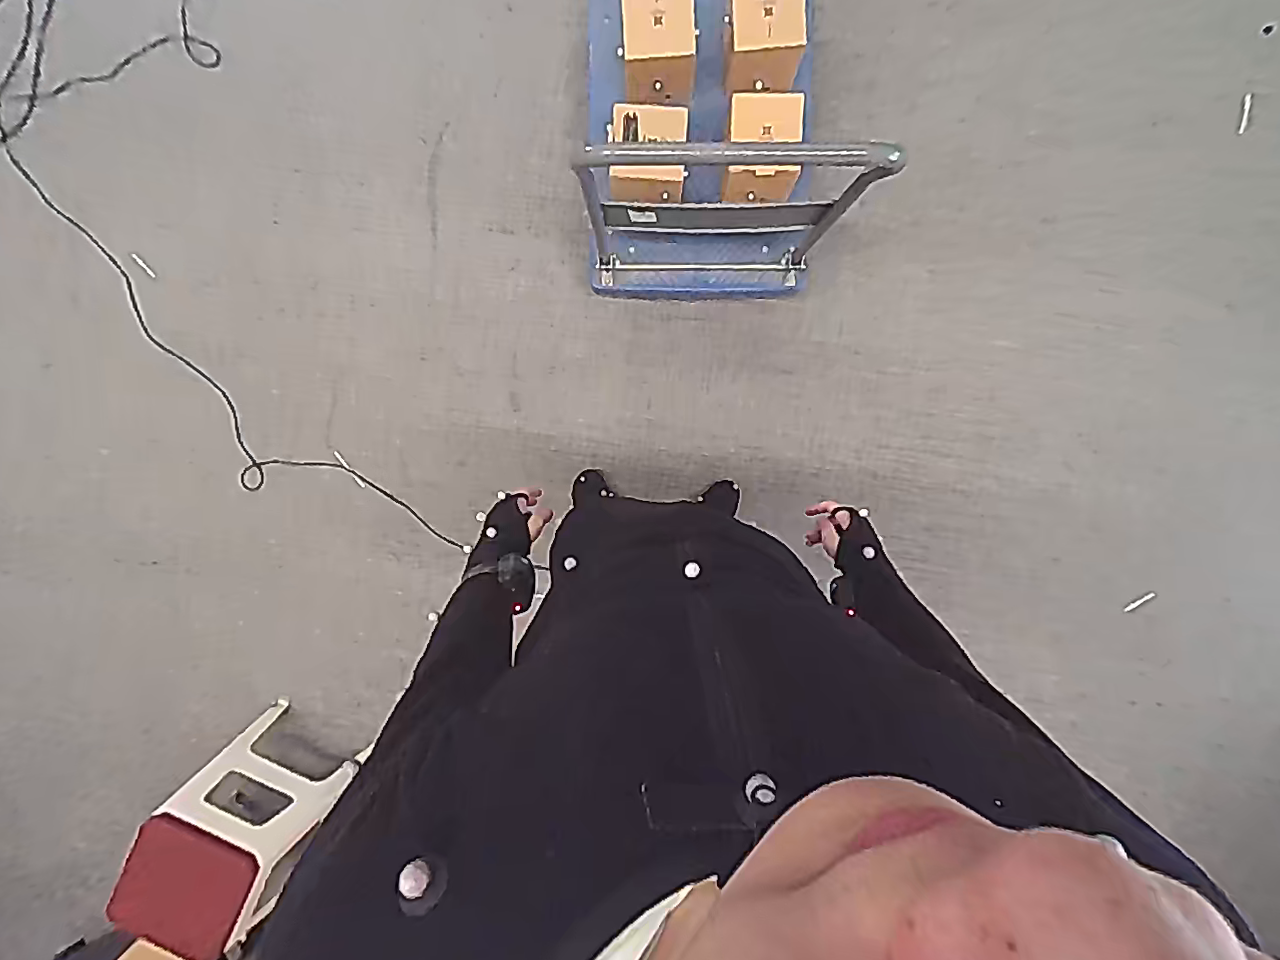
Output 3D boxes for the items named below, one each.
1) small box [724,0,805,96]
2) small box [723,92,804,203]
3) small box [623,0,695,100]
[{"bbox_3d":[0.298,-1.084,1.317,0.168,0.176,0.179,-3,94,3],"label":"small box"},{"bbox_3d":[0.297,-0.814,1.334,0.168,0.176,0.179,1,94,2],"label":"small box"},{"bbox_3d":[0.047,-1.068,1.328,0.168,0.176,0.179,-3,93,2],"label":"small box"}]
